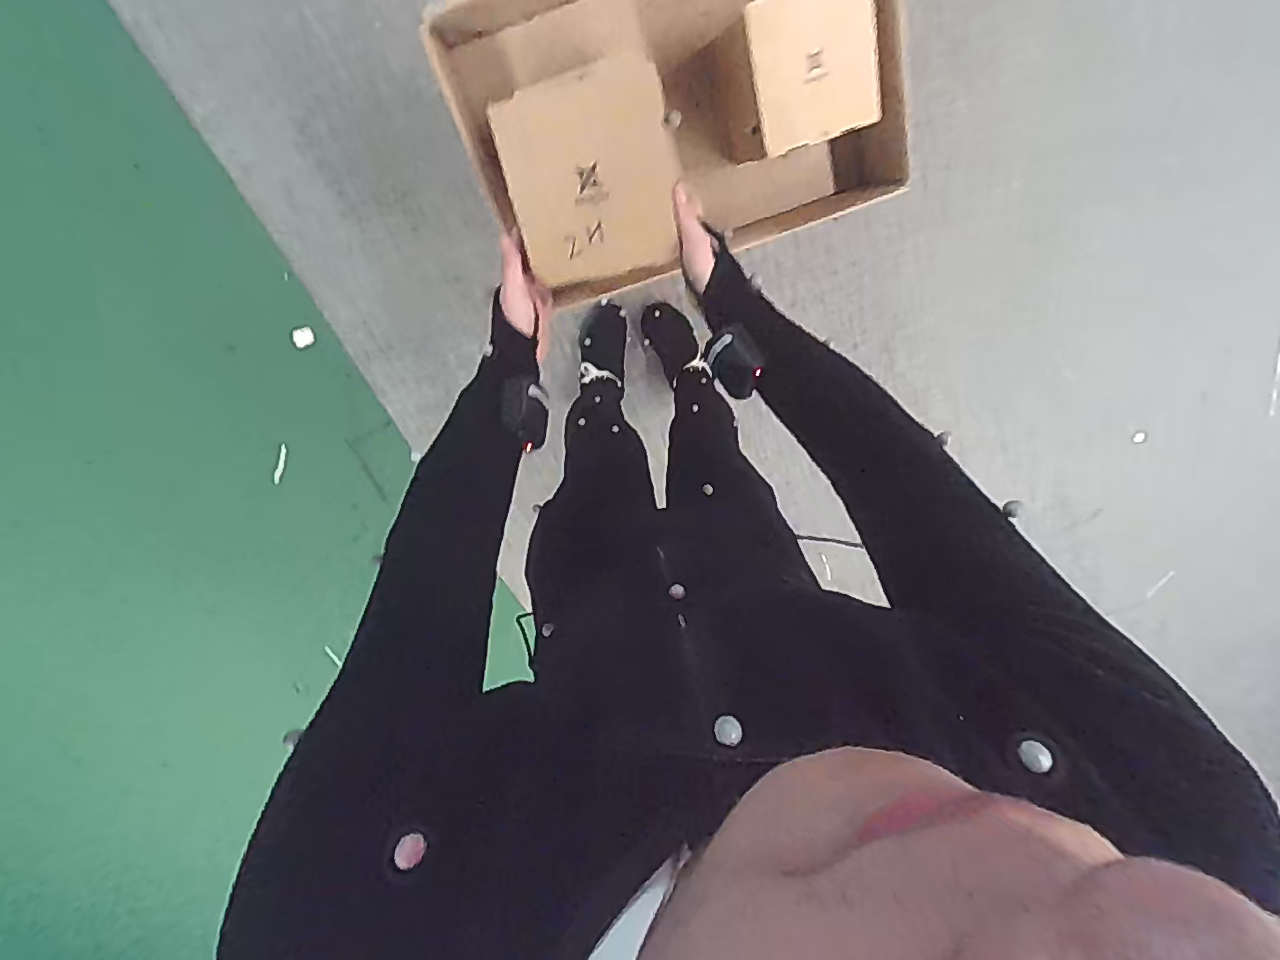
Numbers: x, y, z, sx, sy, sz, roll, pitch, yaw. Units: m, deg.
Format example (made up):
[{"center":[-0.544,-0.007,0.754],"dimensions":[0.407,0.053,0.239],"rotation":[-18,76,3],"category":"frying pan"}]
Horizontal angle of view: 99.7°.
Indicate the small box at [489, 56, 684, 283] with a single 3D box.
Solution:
[{"center":[-0.044,-0.342,0.613],"dimensions":[0.168,0.176,0.179],"rotation":[-8,120,11],"category":"small box"}]
